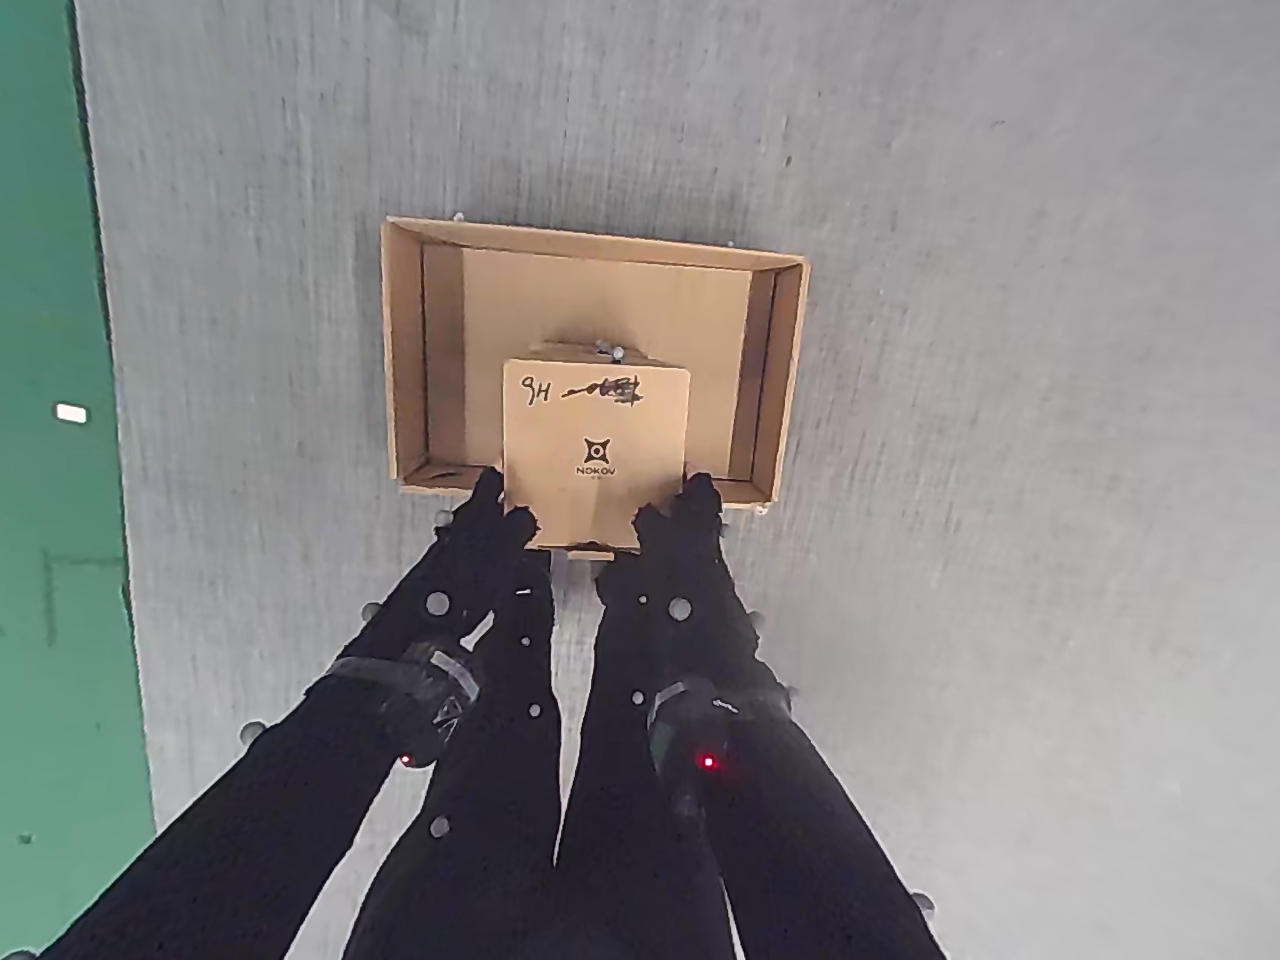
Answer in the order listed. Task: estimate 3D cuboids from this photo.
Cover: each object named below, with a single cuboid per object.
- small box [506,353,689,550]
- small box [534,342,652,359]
[{"bbox_3d":[-0.047,-0.039,0.579,0.168,0.176,0.179,1,106,-6],"label":"small box"},{"bbox_3d":[-0.078,-0.135,0.889,0.179,0.176,0.168,4,104,-3],"label":"small box"}]
